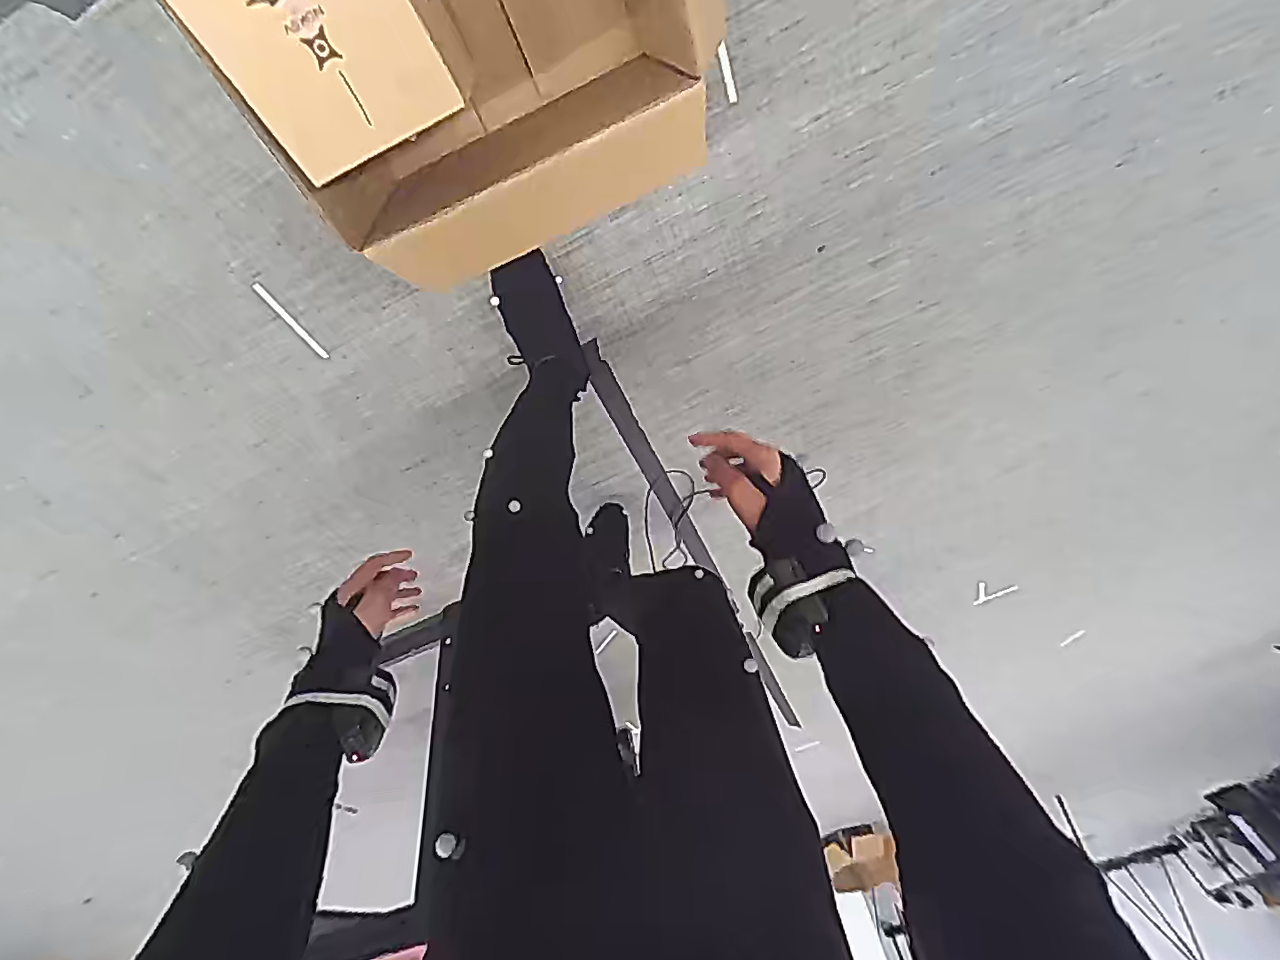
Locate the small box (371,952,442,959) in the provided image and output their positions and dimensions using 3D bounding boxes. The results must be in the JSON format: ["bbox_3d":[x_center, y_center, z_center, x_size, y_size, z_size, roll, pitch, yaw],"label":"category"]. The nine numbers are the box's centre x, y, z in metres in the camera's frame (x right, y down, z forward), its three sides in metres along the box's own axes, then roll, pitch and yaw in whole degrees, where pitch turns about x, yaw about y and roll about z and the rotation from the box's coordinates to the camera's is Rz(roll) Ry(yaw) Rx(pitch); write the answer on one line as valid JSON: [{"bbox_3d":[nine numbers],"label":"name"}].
[{"bbox_3d":[-0.503,1.034,1.033,0.179,0.176,0.168,-26,134,11],"label":"small box"}]
